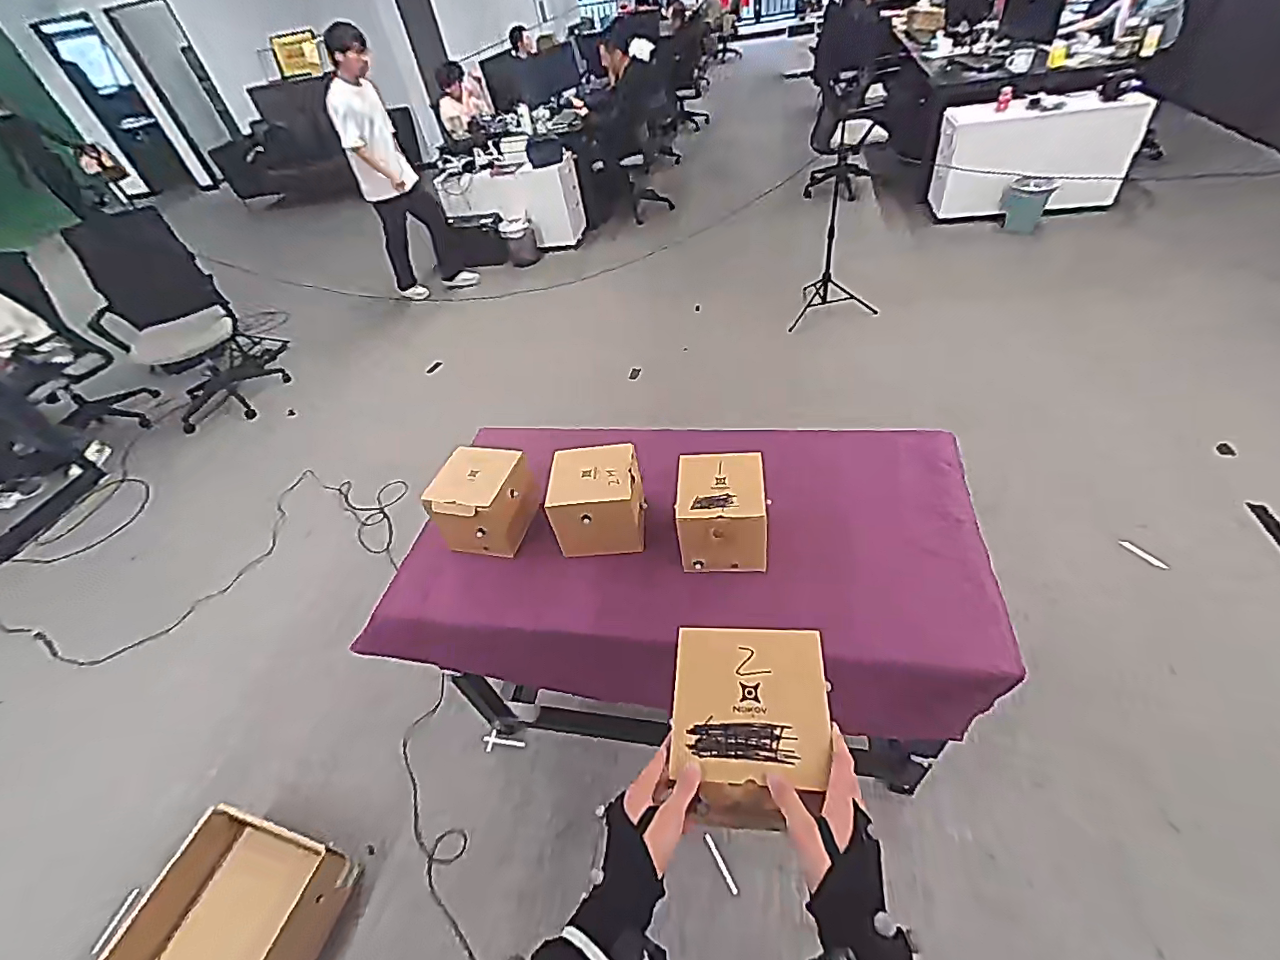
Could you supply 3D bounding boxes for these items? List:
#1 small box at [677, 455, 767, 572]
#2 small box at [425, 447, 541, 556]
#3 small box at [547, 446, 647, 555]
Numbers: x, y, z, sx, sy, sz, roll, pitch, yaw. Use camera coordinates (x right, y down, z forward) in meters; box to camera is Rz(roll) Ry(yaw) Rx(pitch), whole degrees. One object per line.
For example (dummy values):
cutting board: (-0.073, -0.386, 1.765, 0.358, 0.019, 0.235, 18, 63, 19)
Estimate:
small box: (0.170, 0.071, 1.092, 0.168, 0.176, 0.179, -1, 44, 10)
small box: (-0.340, 0.050, 1.218, 0.168, 0.176, 0.179, 6, 46, 16)
small box: (-0.084, 0.049, 1.165, 0.179, 0.176, 0.168, -4, 45, 7)
